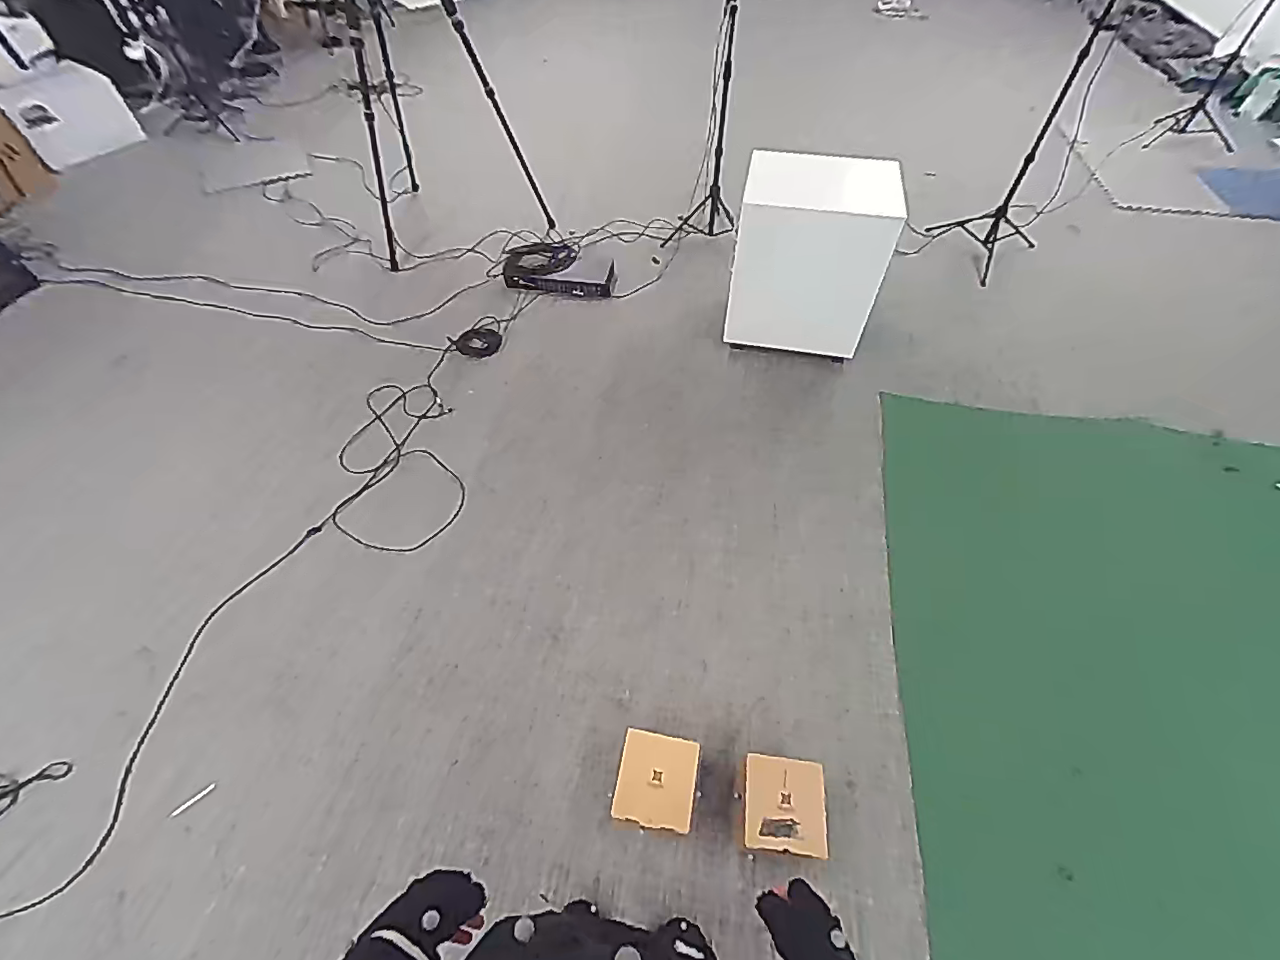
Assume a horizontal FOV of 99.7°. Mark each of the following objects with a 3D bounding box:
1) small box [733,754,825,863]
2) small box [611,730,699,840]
[{"bbox_3d":[0.298,0.721,1.182,0.168,0.176,0.179,6,53,5],"label":"small box"},{"bbox_3d":[0.034,0.686,1.212,0.168,0.176,0.179,9,54,7],"label":"small box"}]
